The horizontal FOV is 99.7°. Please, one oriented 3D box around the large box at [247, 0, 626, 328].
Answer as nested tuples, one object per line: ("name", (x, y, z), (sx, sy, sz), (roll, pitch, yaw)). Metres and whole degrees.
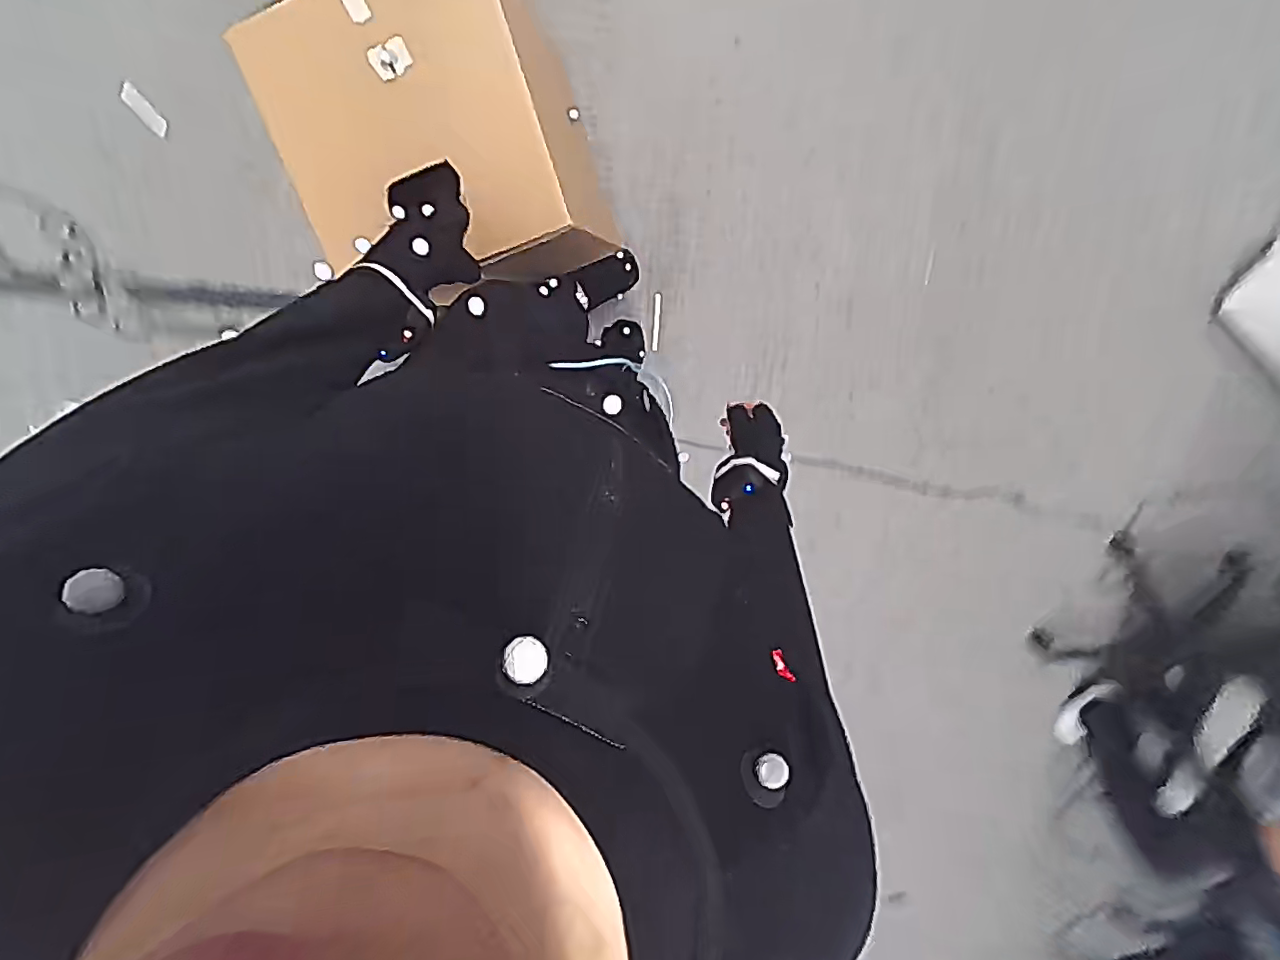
("large box", (-0.243, -0.444, 0.808), (0.320, 0.408, 0.320), (-15, 108, 13))
